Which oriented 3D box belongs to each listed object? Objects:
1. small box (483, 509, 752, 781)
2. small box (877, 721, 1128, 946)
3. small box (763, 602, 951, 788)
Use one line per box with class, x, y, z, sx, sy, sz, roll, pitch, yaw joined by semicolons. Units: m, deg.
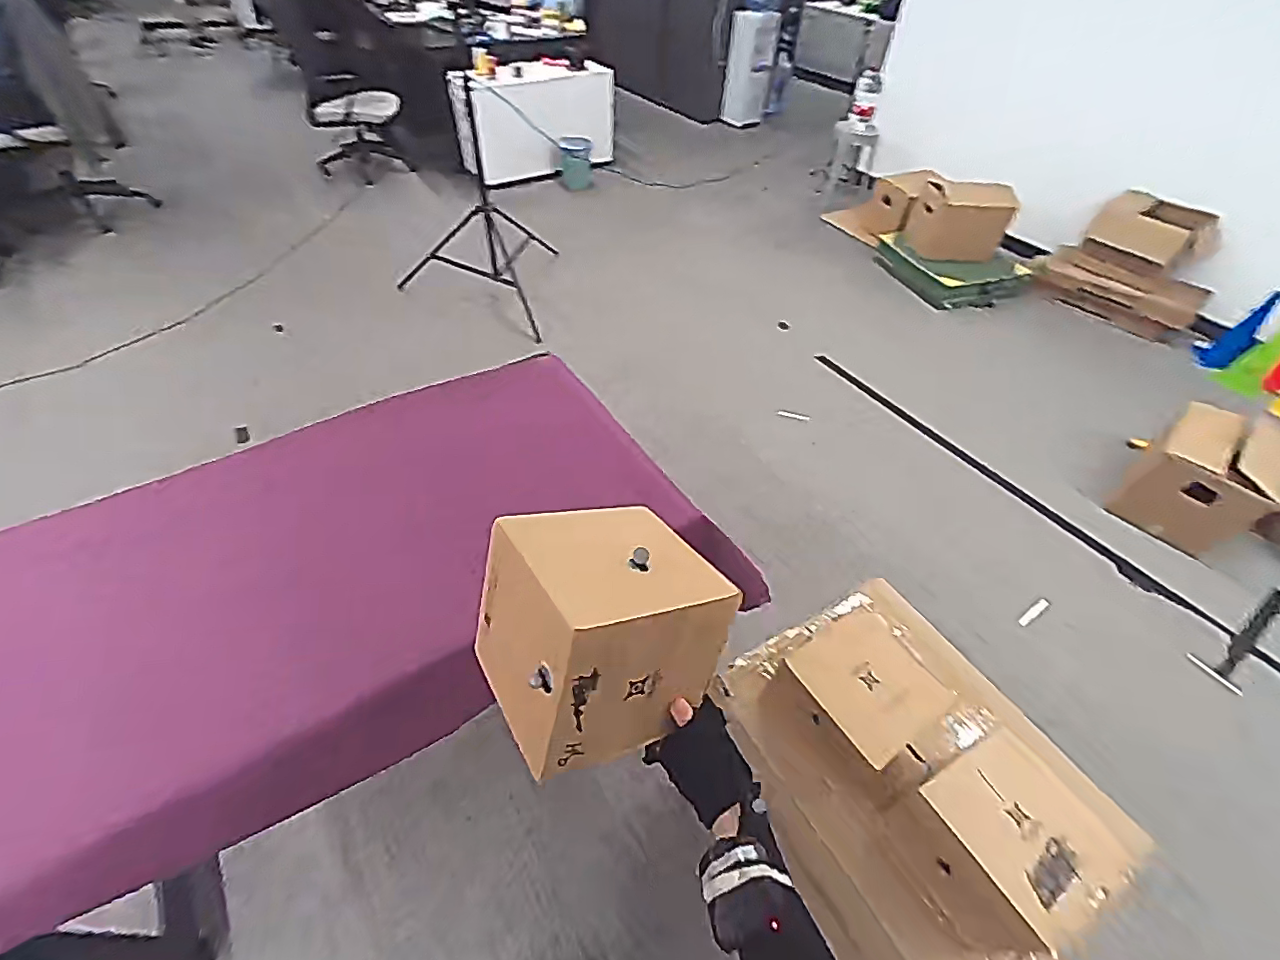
small box;-0.031;0.138;0.523;0.179;0.168;0.176;-2;27;-36
small box;0.450;0.456;0.701;0.168;0.176;0.179;-23;51;-21
small box;0.310;0.325;0.814;0.168;0.176;0.179;-26;56;-22
